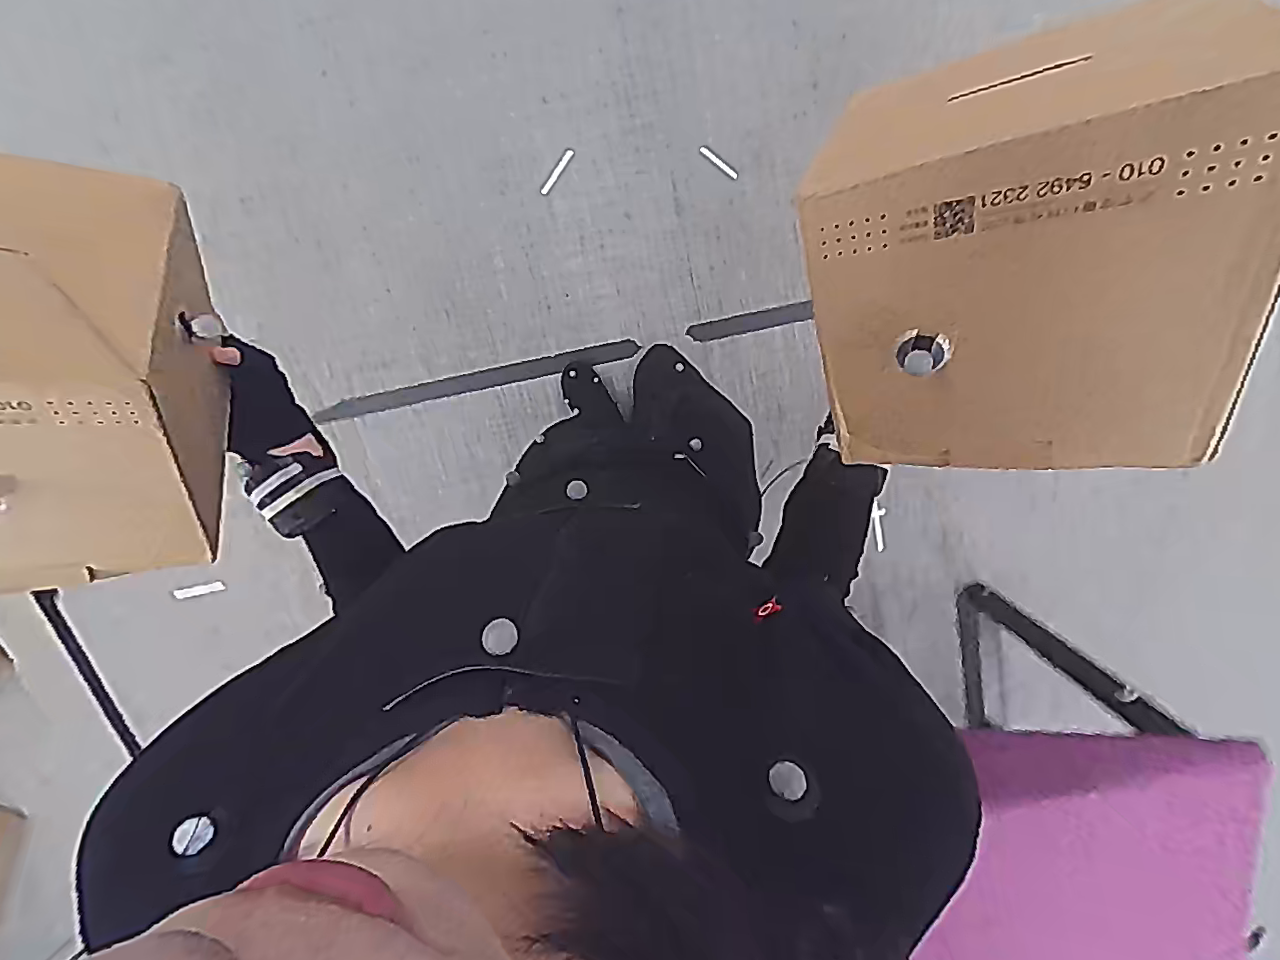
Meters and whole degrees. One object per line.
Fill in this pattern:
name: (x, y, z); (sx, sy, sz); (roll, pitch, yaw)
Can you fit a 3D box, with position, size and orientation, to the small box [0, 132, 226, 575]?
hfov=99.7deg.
small box: (-0.342, -0.065, 0.289); (0.168, 0.179, 0.176); (-2, 144, -30)
